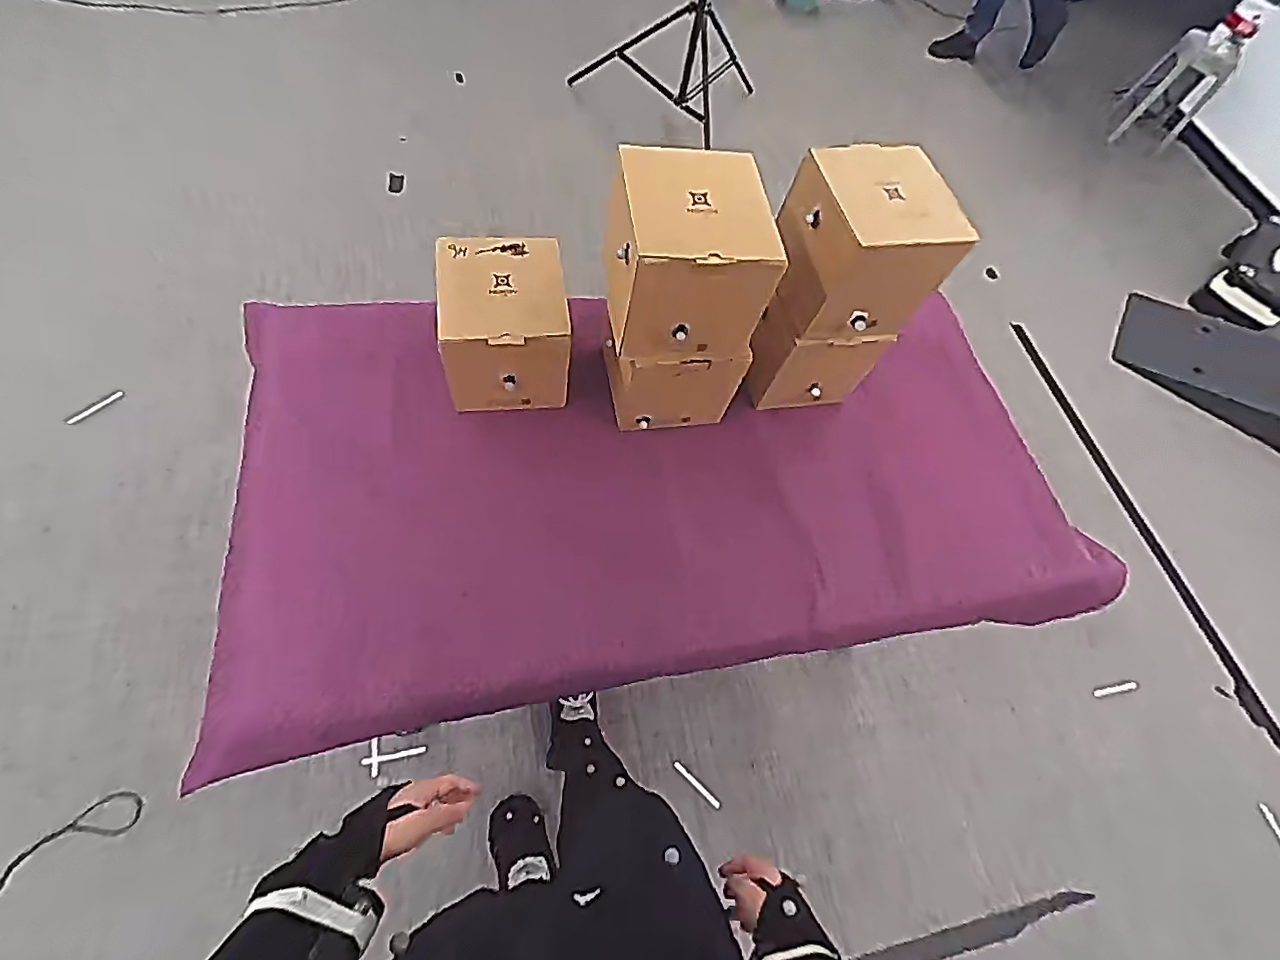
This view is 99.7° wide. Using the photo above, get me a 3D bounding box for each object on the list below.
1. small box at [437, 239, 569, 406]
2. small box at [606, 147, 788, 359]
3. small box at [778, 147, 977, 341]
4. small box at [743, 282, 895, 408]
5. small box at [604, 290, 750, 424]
[{"bbox_3d":[-0.192,-0.218,0.780,0.168,0.176,0.179,-5,67,-12],"label":"small box"},{"bbox_3d":[0.055,-0.269,0.666,0.168,0.176,0.179,-4,66,-12],"label":"small box"},{"bbox_3d":[0.293,-0.314,0.730,0.168,0.176,0.179,-9,67,-13],"label":"small box"},{"bbox_3d":[0.264,-0.238,0.871,0.168,0.176,0.179,-7,66,-12],"label":"small box"},{"bbox_3d":[0.044,-0.195,0.812,0.168,0.176,0.179,-6,65,-13],"label":"small box"}]
